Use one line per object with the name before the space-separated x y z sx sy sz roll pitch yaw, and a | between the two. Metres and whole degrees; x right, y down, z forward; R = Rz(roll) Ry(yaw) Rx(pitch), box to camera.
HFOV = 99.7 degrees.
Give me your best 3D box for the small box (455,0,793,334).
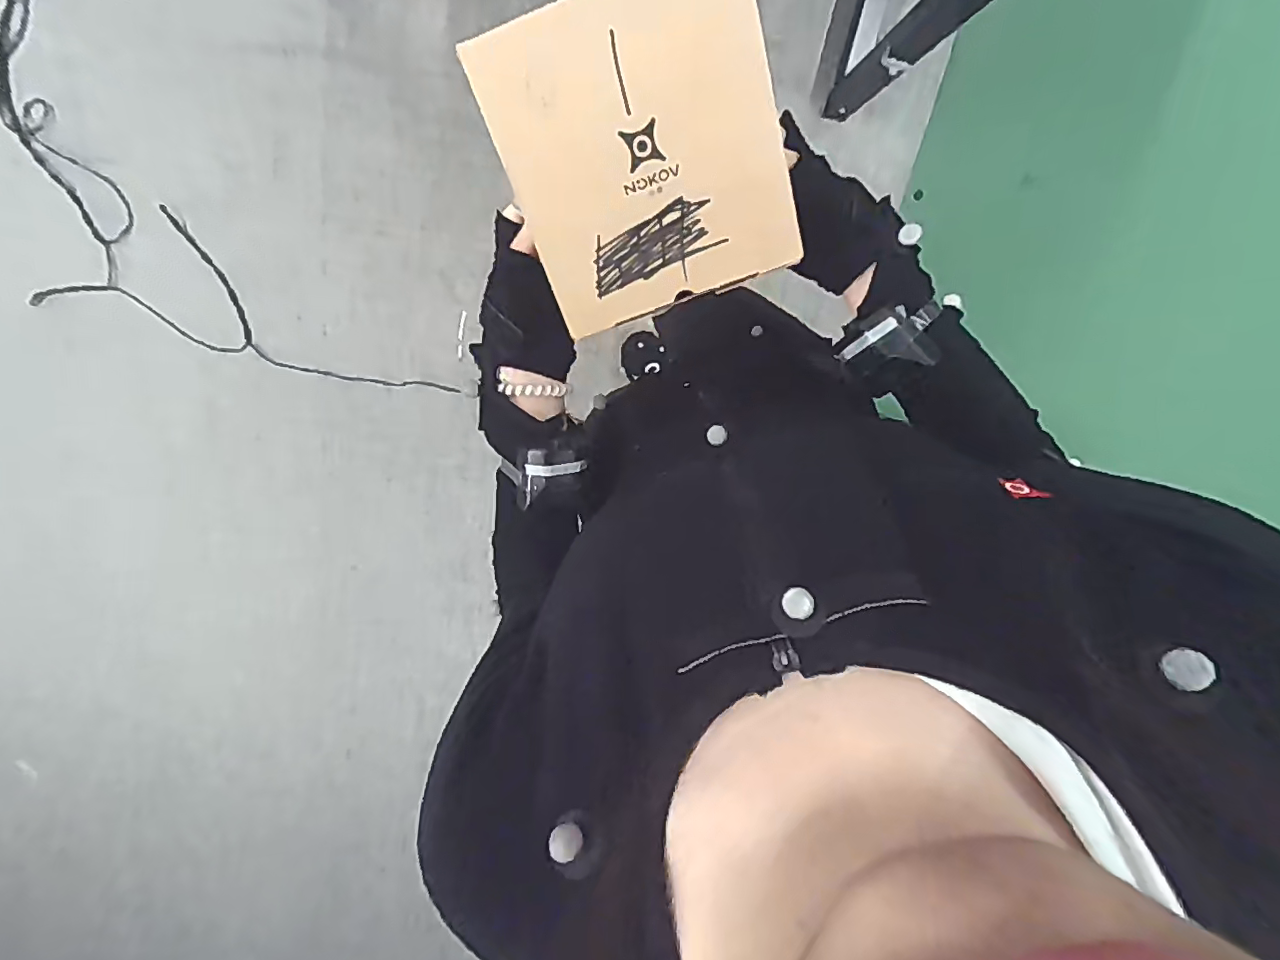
small box | -0.003 -0.232 0.398 0.168 0.176 0.179 -17 116 7
